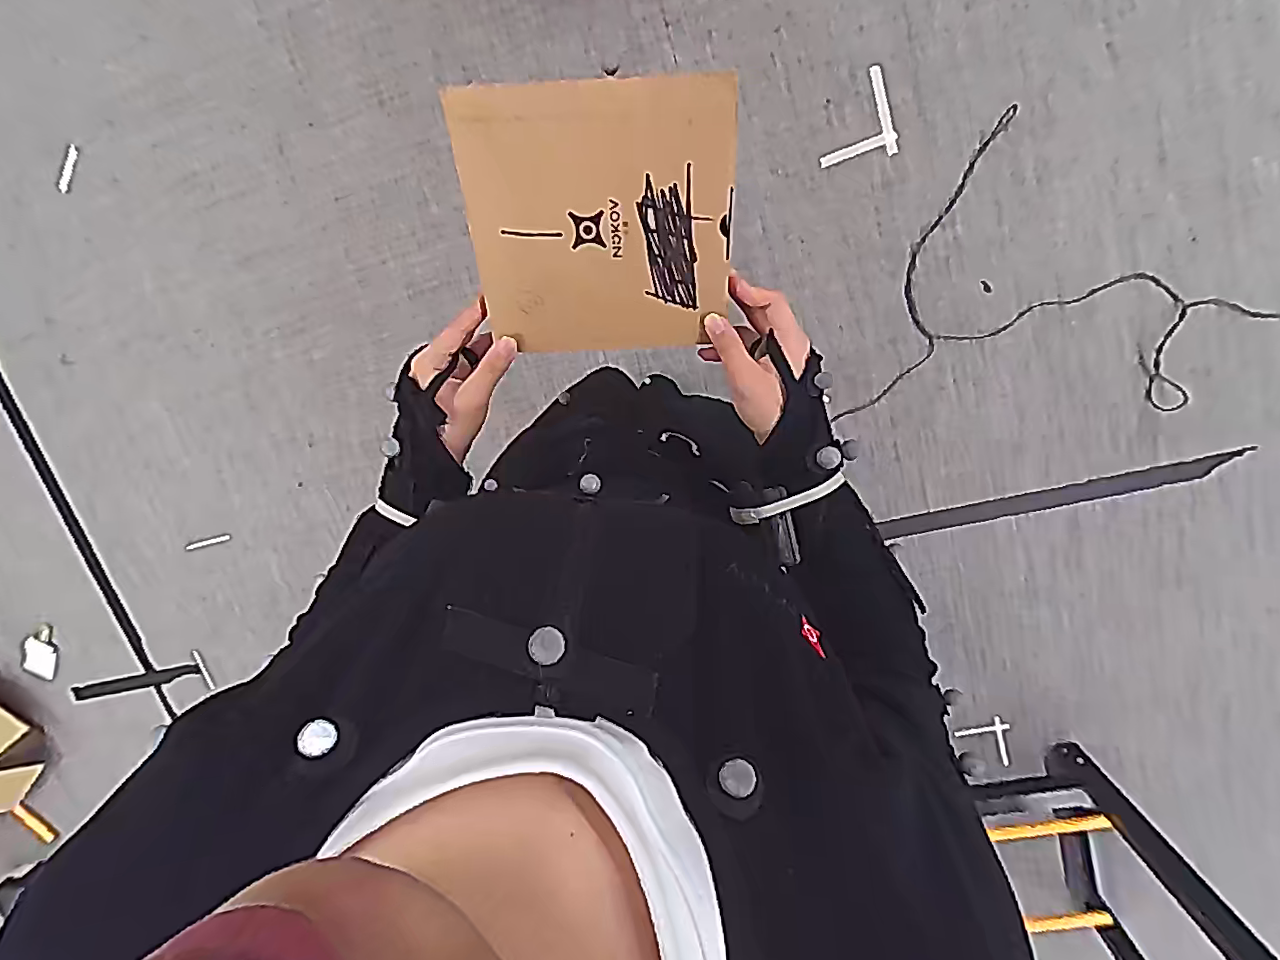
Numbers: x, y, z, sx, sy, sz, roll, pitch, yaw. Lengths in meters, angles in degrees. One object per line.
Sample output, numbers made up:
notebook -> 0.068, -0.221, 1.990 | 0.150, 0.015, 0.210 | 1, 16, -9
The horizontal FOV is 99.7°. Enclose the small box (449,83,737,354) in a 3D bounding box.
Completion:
small box -> -0.027, -0.212, 0.431 | 0.179, 0.176, 0.168 | -2, 125, 2
